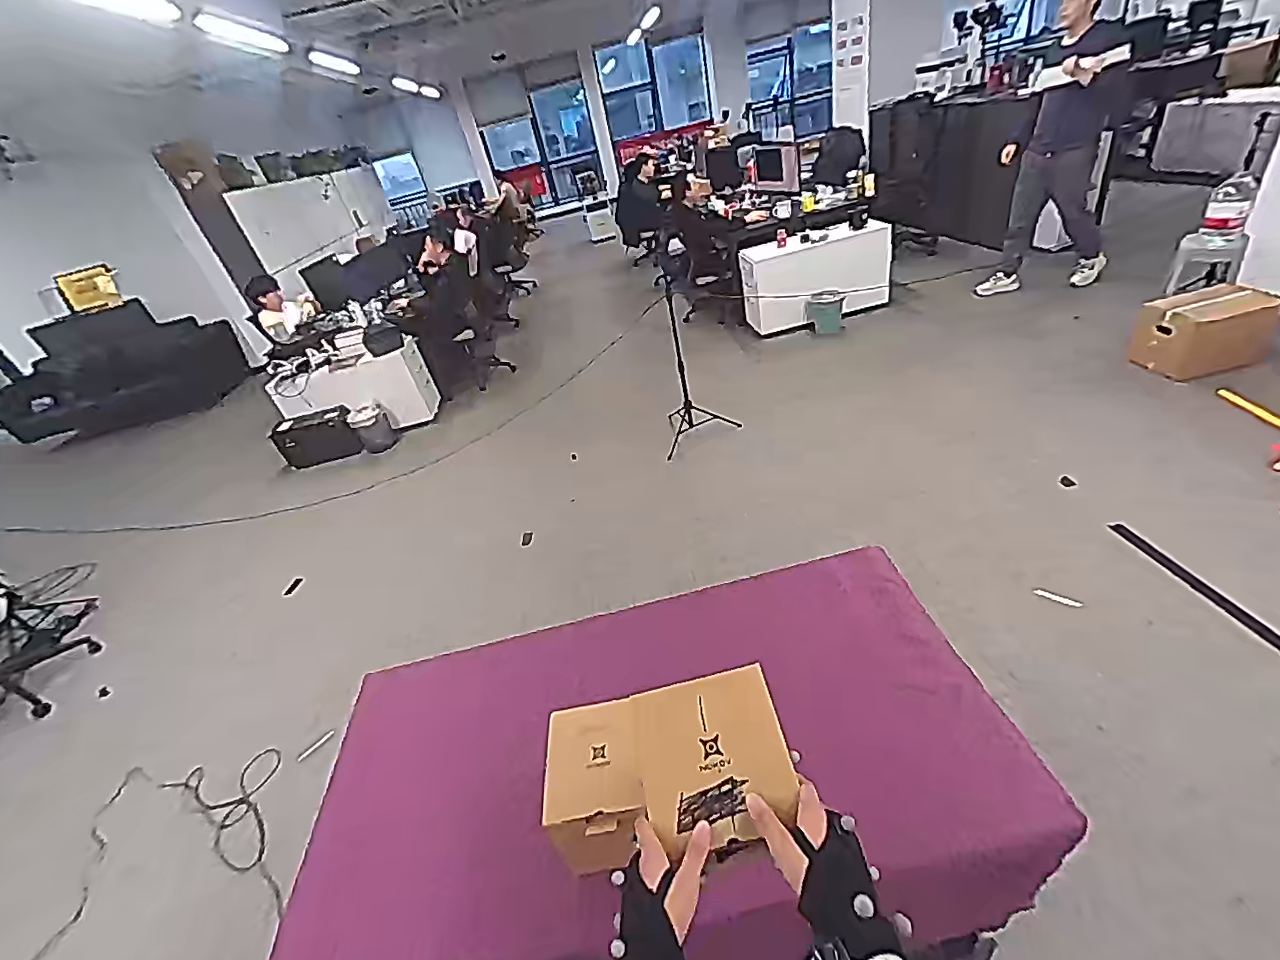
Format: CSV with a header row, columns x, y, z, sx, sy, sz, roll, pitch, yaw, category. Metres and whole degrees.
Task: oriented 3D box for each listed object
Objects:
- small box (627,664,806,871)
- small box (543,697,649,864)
x,y,z,sx,sy,sz,roll,pitch,yaw,category
0.092,0.354,0.656,0.168,0.176,0.179,-15,48,2,small box
-0.043,0.474,0.853,0.168,0.176,0.179,-12,33,3,small box
